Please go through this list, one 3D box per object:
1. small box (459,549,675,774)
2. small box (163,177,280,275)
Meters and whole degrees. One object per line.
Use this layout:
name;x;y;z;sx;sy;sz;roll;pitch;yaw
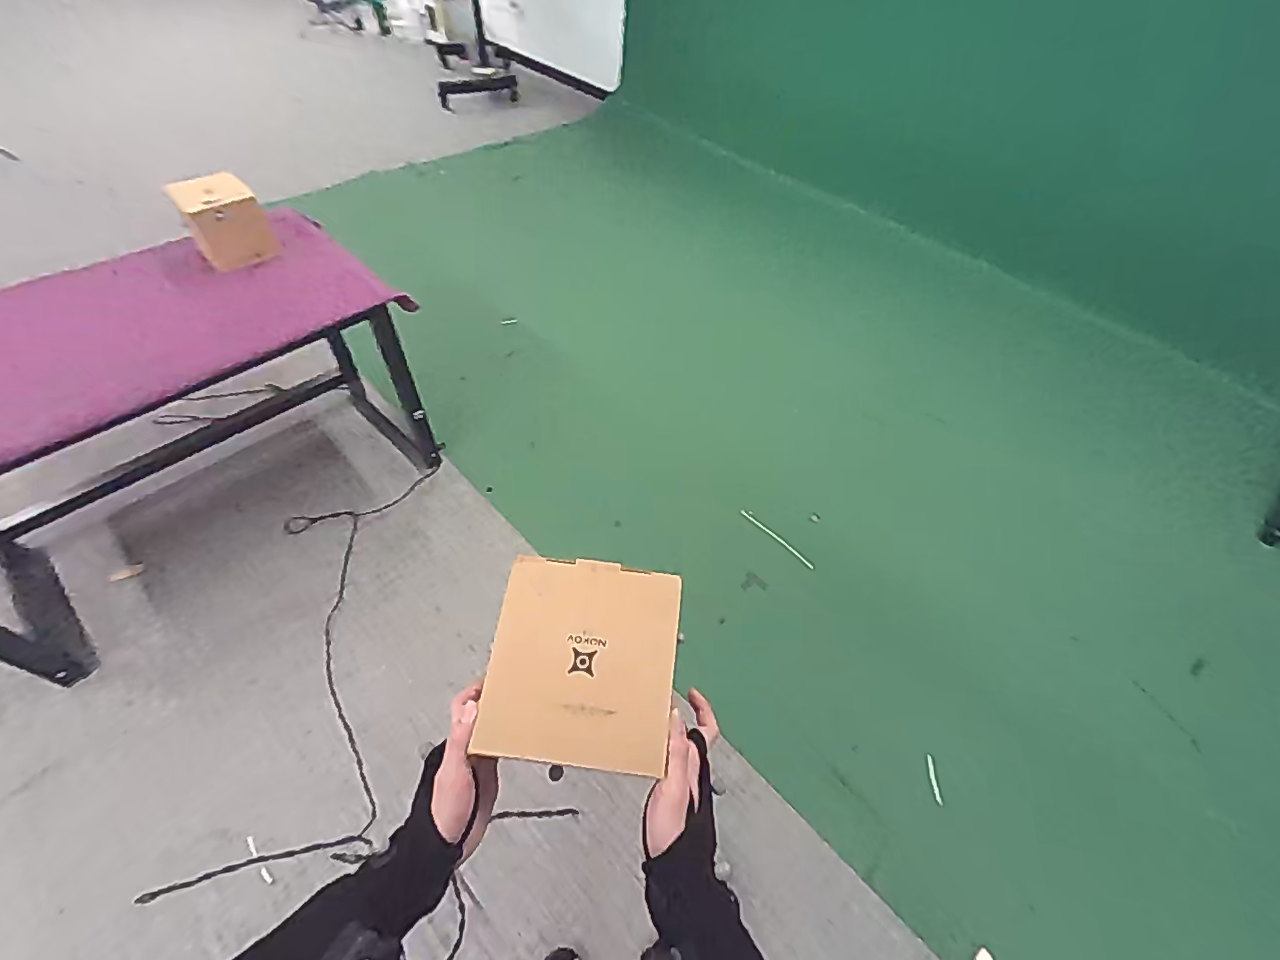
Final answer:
small box;-0.061;0.188;0.546;0.168;0.176;0.179;7;63;1
small box;-1.127;-0.686;1.466;0.168;0.176;0.179;-37;62;-27
